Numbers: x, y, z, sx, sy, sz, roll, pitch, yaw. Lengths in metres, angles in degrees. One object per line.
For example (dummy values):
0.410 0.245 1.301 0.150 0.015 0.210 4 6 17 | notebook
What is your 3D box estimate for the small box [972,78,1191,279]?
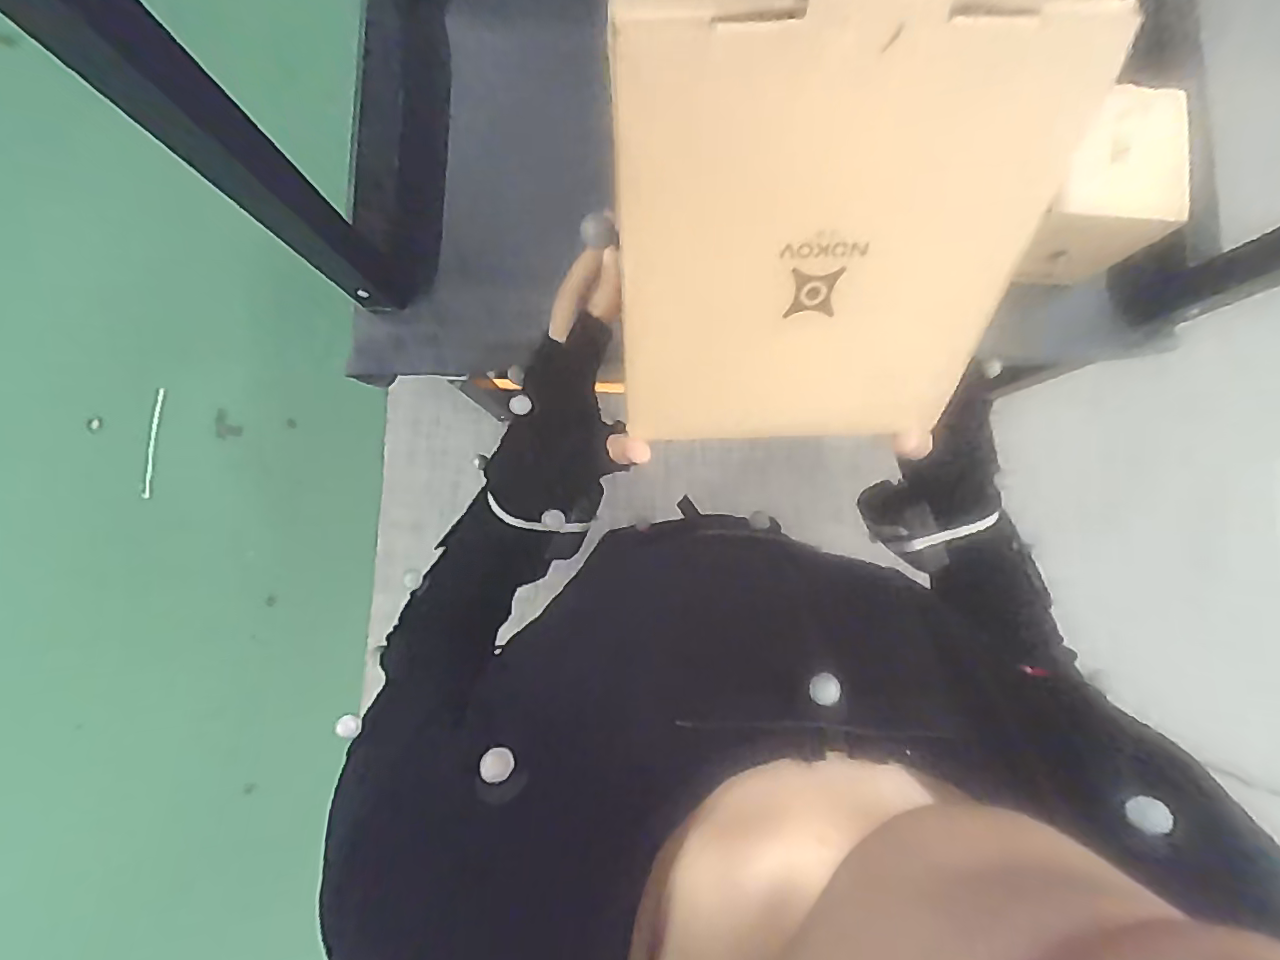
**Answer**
0.581 -0.393 0.733 0.168 0.176 0.179 5 84 1 | small box
